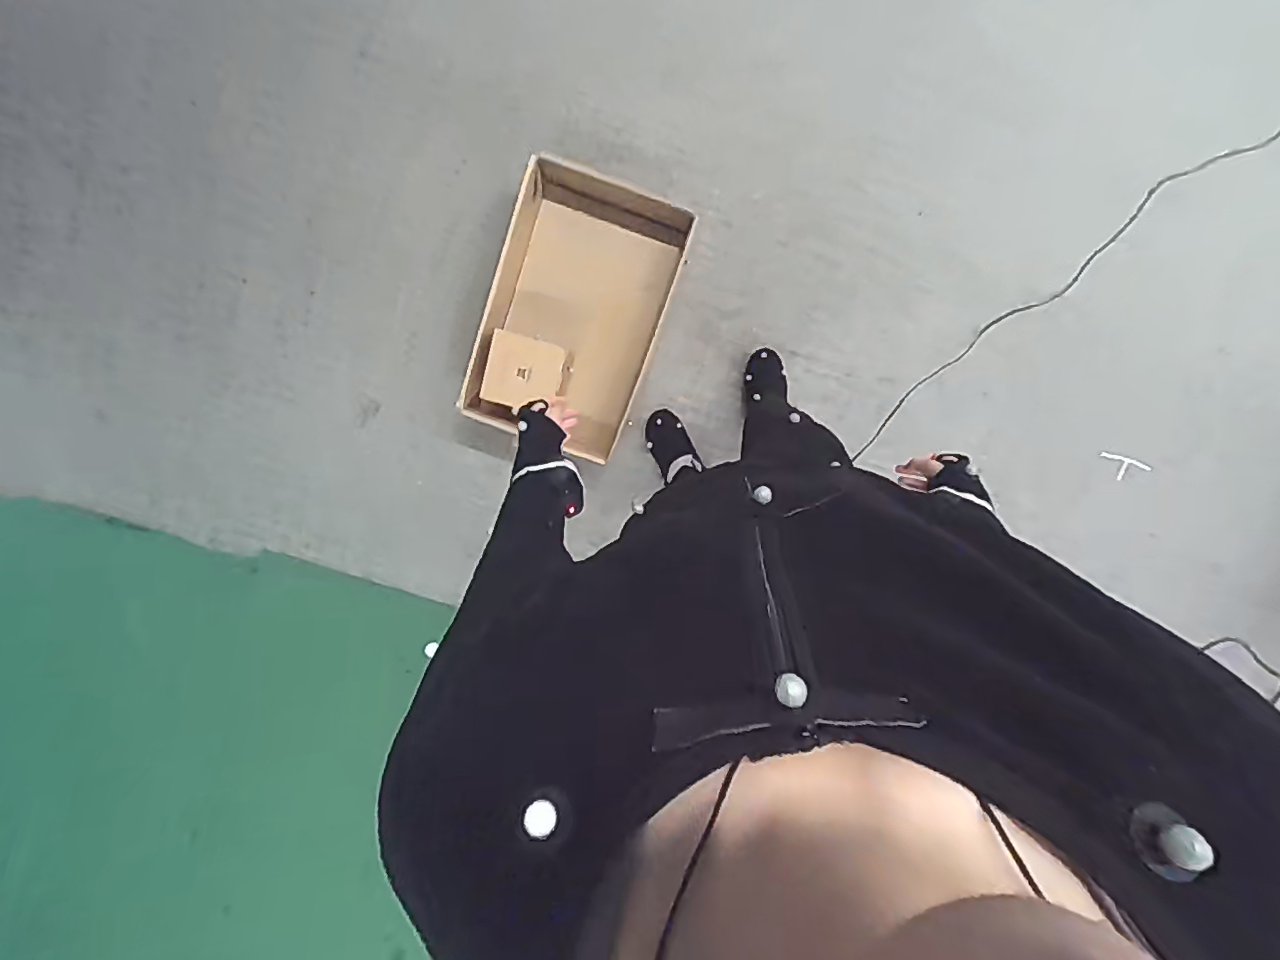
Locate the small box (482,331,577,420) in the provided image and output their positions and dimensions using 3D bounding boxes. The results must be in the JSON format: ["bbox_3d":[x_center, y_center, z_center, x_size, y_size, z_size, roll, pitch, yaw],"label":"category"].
[{"bbox_3d":[-0.262,-0.255,1.327,0.179,0.176,0.168,16,99,-2],"label":"small box"}]
